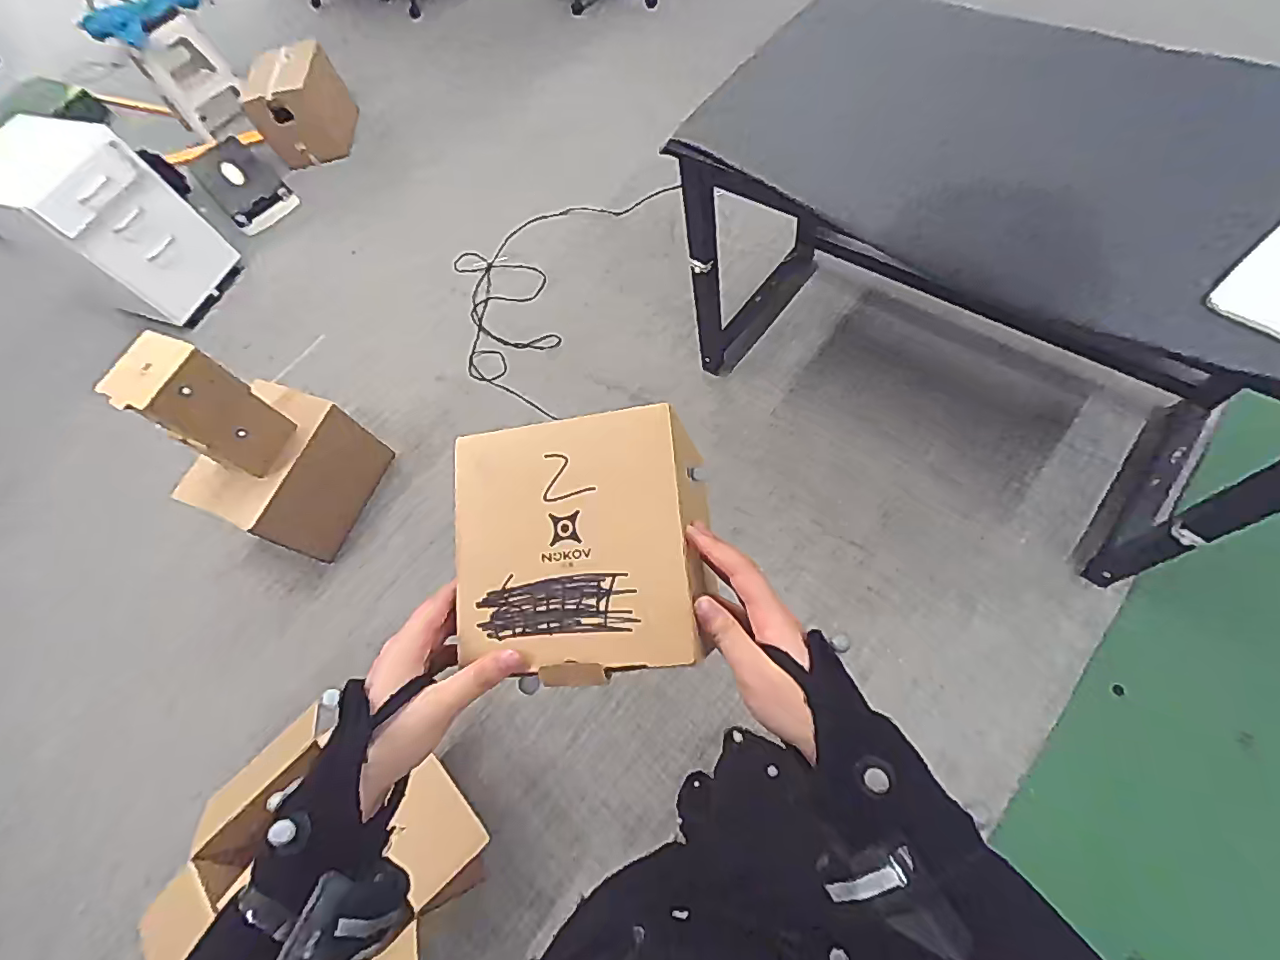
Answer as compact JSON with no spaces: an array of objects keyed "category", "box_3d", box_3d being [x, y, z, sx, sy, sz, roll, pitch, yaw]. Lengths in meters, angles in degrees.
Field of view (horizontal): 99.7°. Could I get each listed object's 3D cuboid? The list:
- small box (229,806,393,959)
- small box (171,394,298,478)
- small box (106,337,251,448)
[{"category":"small box","box_3d":[-0.625,0.775,1.049,0.168,0.176,0.179,34,75,21]},{"category":"small box","box_3d":[-1.058,-0.126,1.429,0.168,0.176,0.179,17,69,17]},{"category":"small box","box_3d":[-1.080,-0.204,1.287,0.168,0.176,0.179,17,70,17]}]
